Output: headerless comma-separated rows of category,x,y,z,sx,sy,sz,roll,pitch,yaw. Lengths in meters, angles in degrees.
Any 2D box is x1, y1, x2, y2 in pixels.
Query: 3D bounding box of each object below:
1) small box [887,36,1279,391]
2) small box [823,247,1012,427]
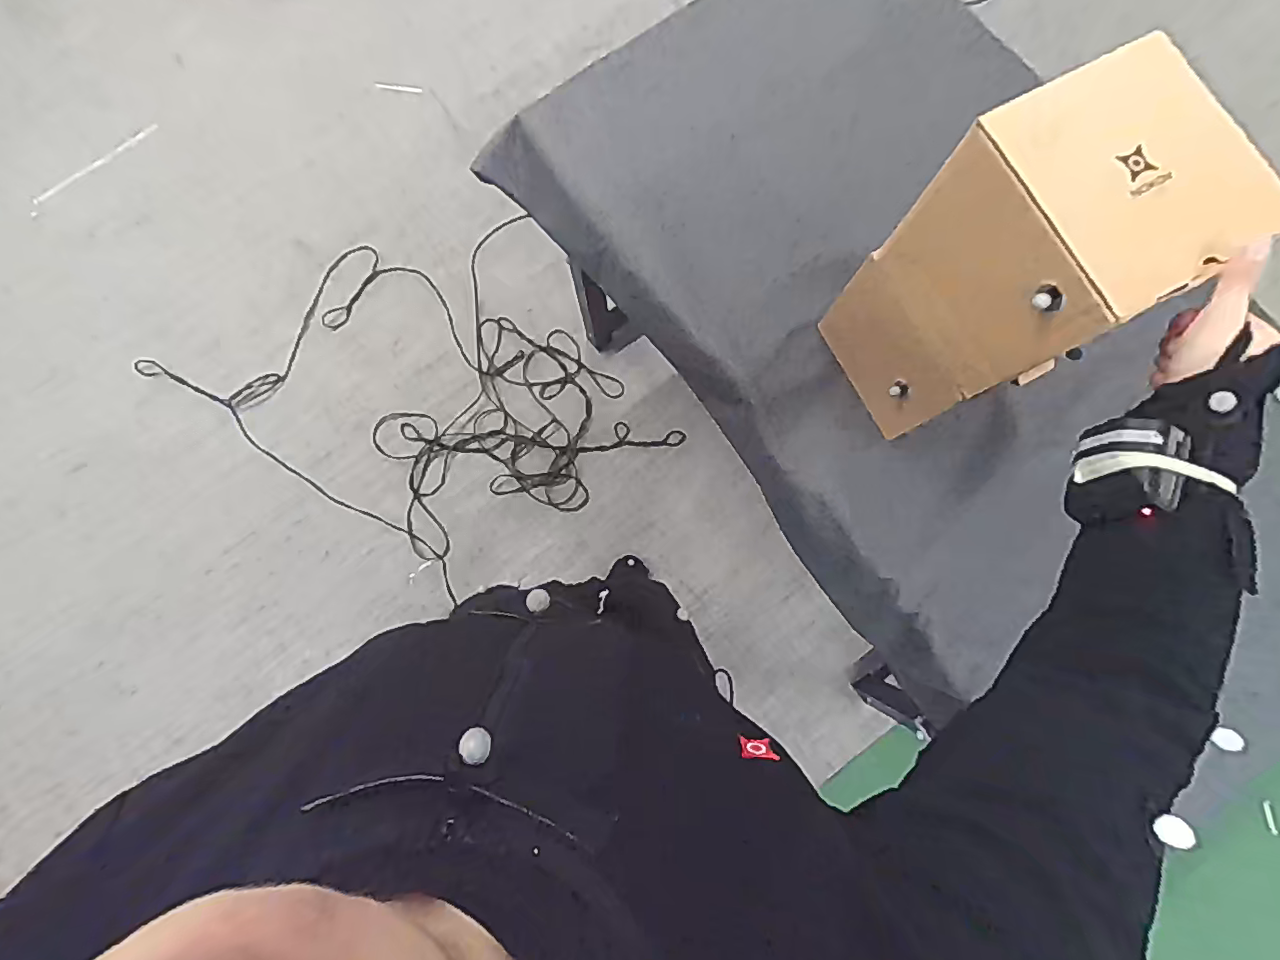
small box,0.349,-0.203,0.457,0.168,0.176,0.179,-28,83,-5
small box,0.343,-0.175,0.617,0.168,0.176,0.179,-28,81,-6
